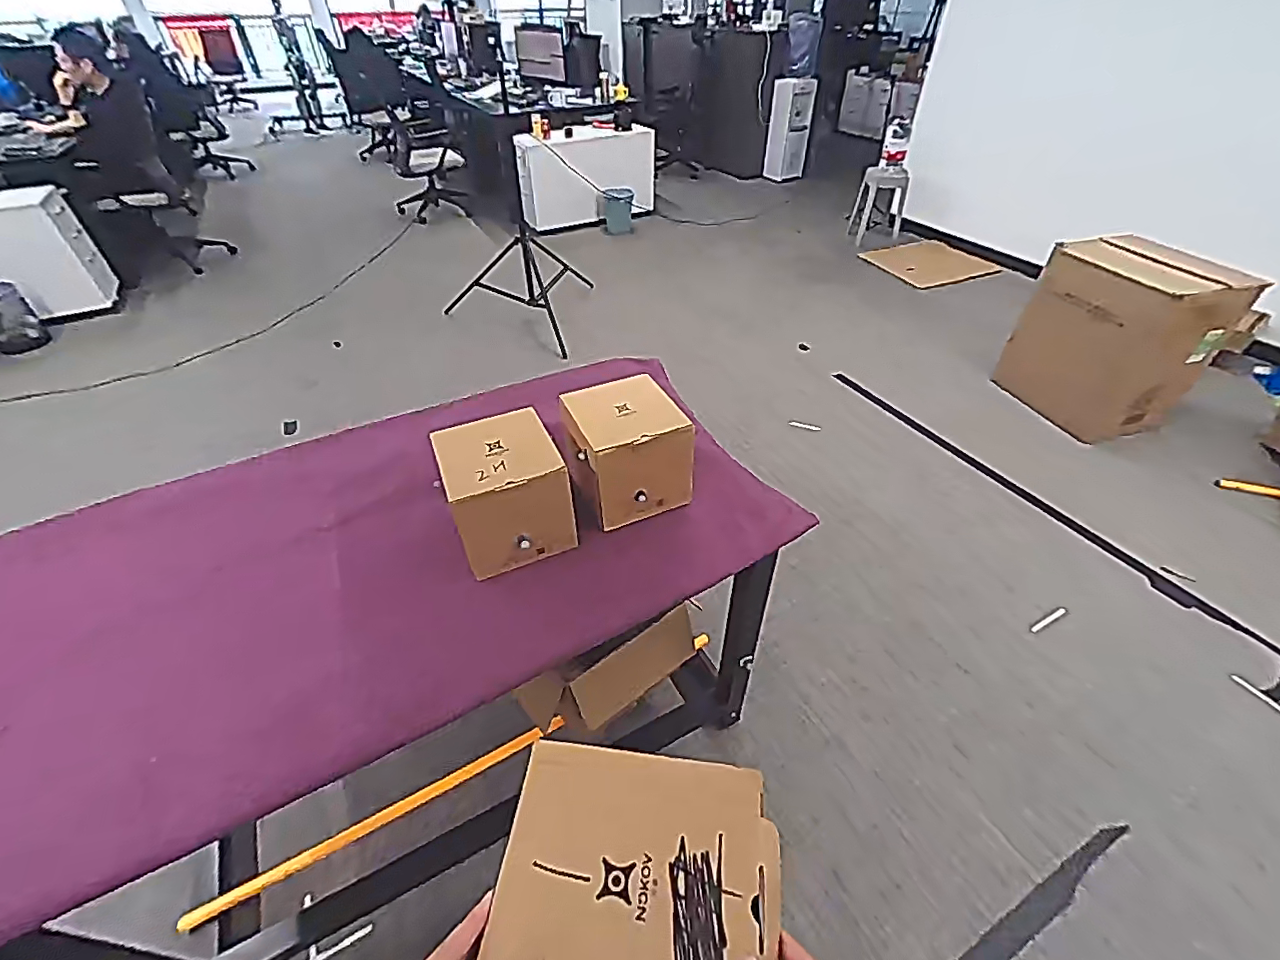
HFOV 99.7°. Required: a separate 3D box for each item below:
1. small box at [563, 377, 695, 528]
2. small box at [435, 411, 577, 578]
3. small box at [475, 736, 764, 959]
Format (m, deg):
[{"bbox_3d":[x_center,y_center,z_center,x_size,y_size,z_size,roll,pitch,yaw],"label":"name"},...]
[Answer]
[{"bbox_3d":[-0.021,-0.049,0.921,0.168,0.176,0.179,-18,44,-17],"label":"small box"},{"bbox_3d":[-0.207,0.021,0.849,0.168,0.176,0.179,-18,44,-17],"label":"small box"},{"bbox_3d":[-0.005,0.319,0.410,0.179,0.176,0.168,4,45,8],"label":"small box"}]
